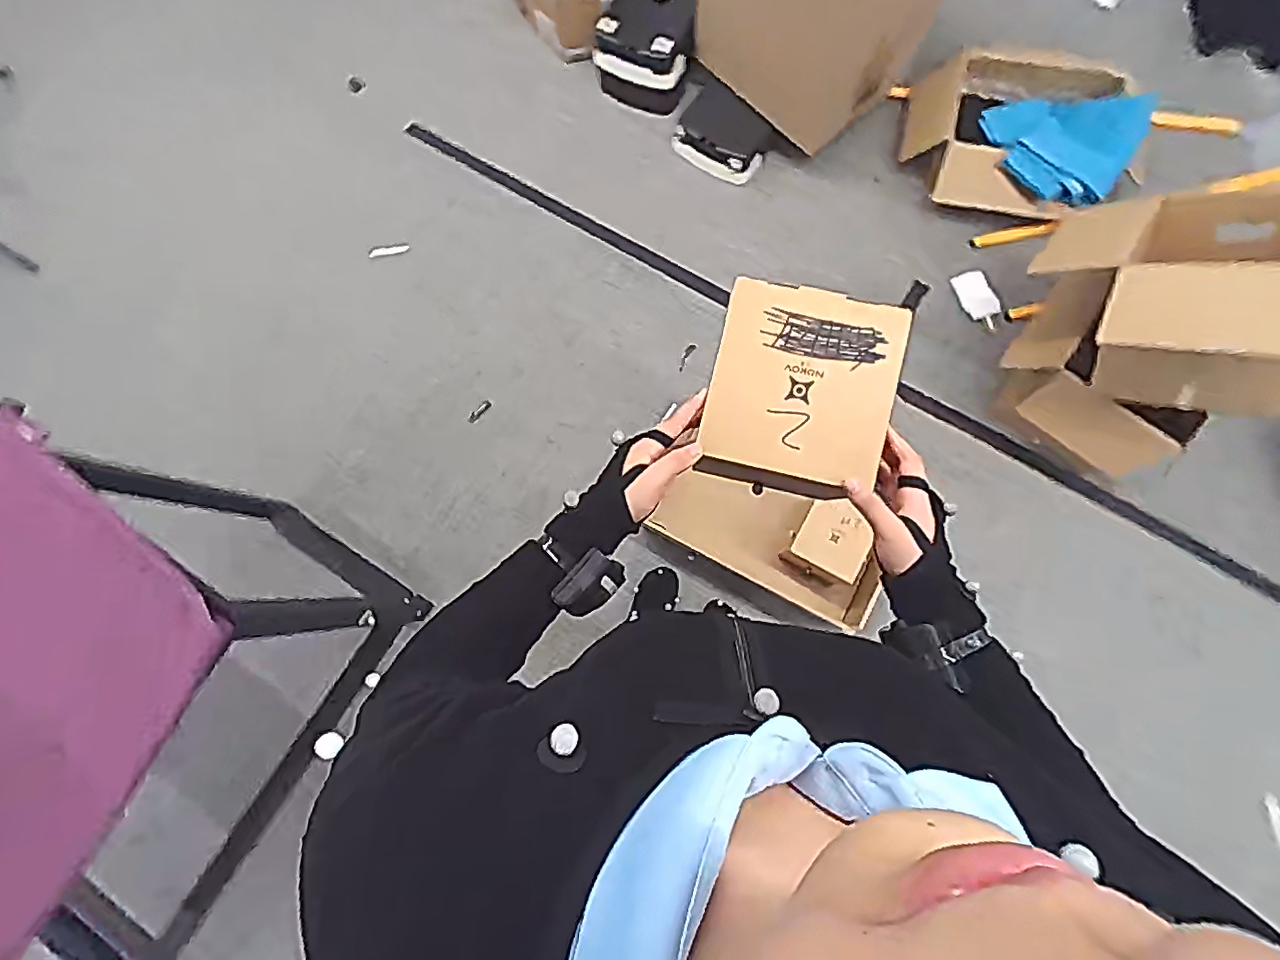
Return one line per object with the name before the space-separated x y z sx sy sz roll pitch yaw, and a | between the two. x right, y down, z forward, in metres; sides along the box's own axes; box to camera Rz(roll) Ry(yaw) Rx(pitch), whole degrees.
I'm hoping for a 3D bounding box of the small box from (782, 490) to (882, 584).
small box | 0.479 0.153 1.380 0.168 0.176 0.179 29 81 9
